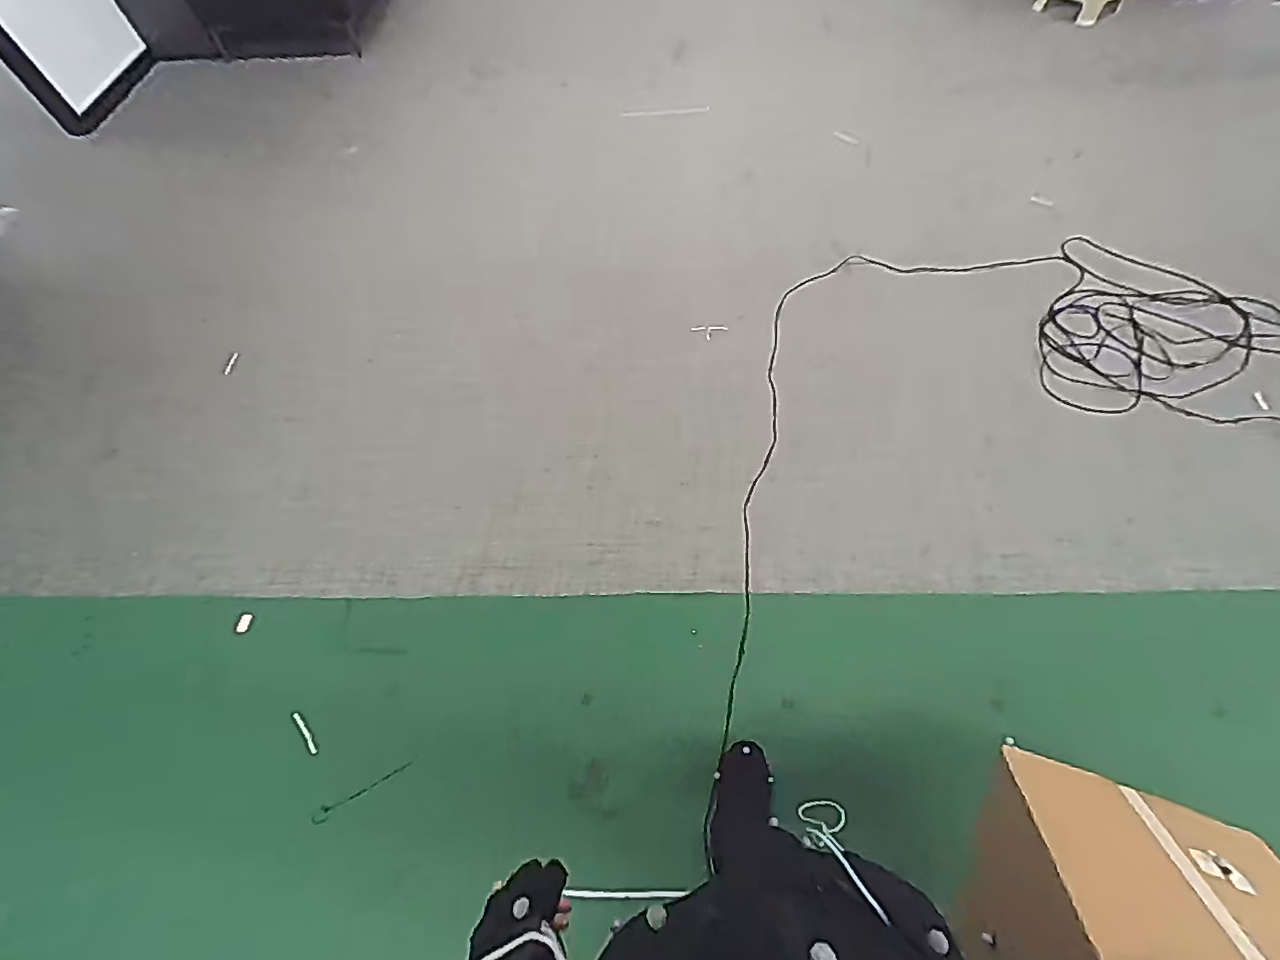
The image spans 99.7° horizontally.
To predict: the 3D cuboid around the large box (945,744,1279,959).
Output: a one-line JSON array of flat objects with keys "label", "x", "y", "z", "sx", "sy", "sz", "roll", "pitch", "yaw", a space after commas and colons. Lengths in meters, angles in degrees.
[{"label": "large box", "x": 0.595, "y": 0.607, "z": 0.631, "sx": 0.320, "sy": 0.408, "sz": 0.320, "roll": 16, "pitch": 100, "yaw": 19}]
